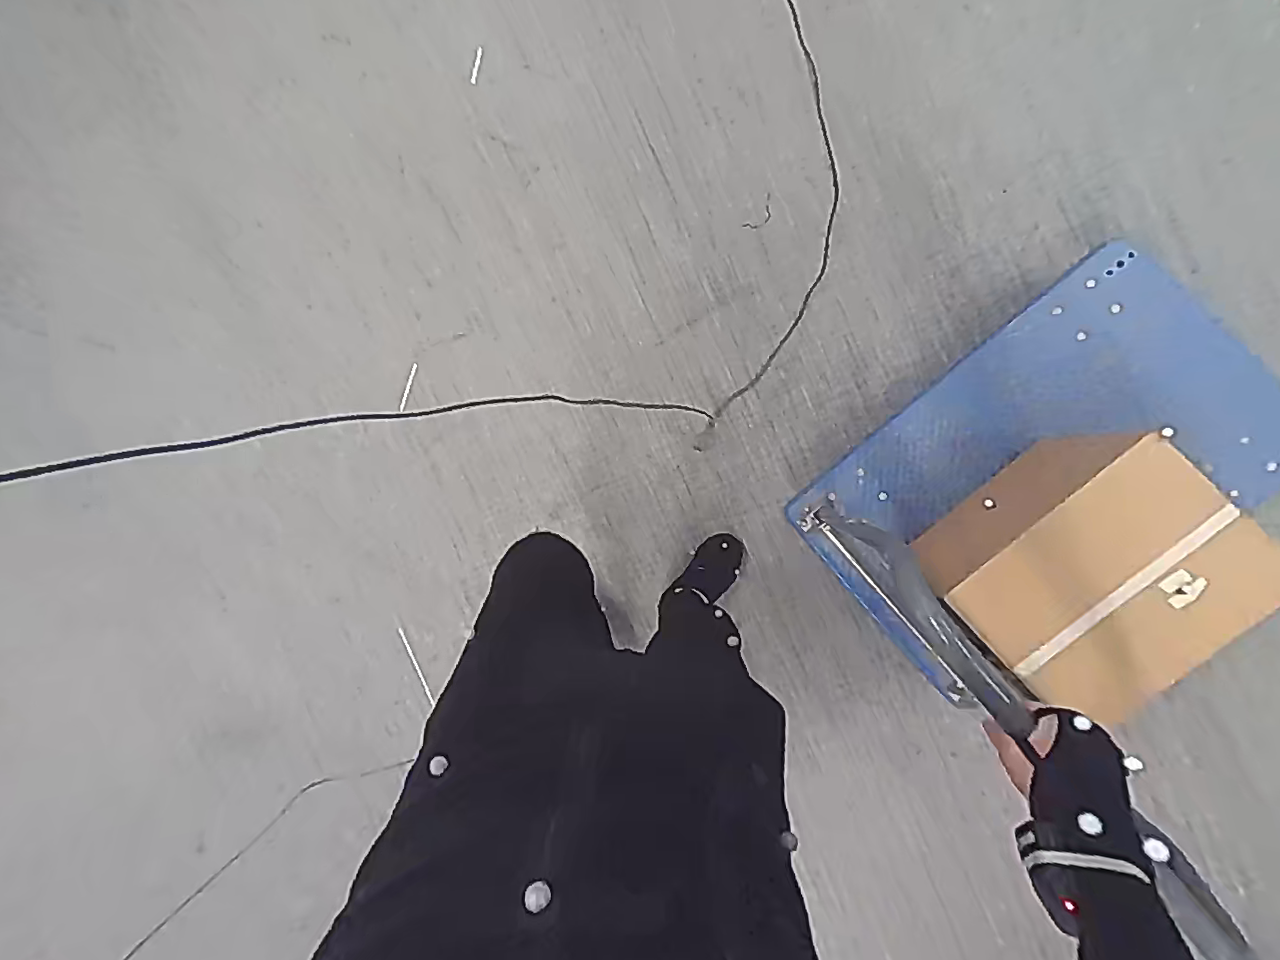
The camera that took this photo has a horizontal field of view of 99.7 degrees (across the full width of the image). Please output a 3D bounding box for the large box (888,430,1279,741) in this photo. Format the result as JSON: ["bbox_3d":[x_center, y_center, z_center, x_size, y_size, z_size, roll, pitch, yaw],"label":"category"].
[{"bbox_3d":[0.748,0.166,0.983,0.408,0.320,0.320,-42,86,7],"label":"large box"}]
